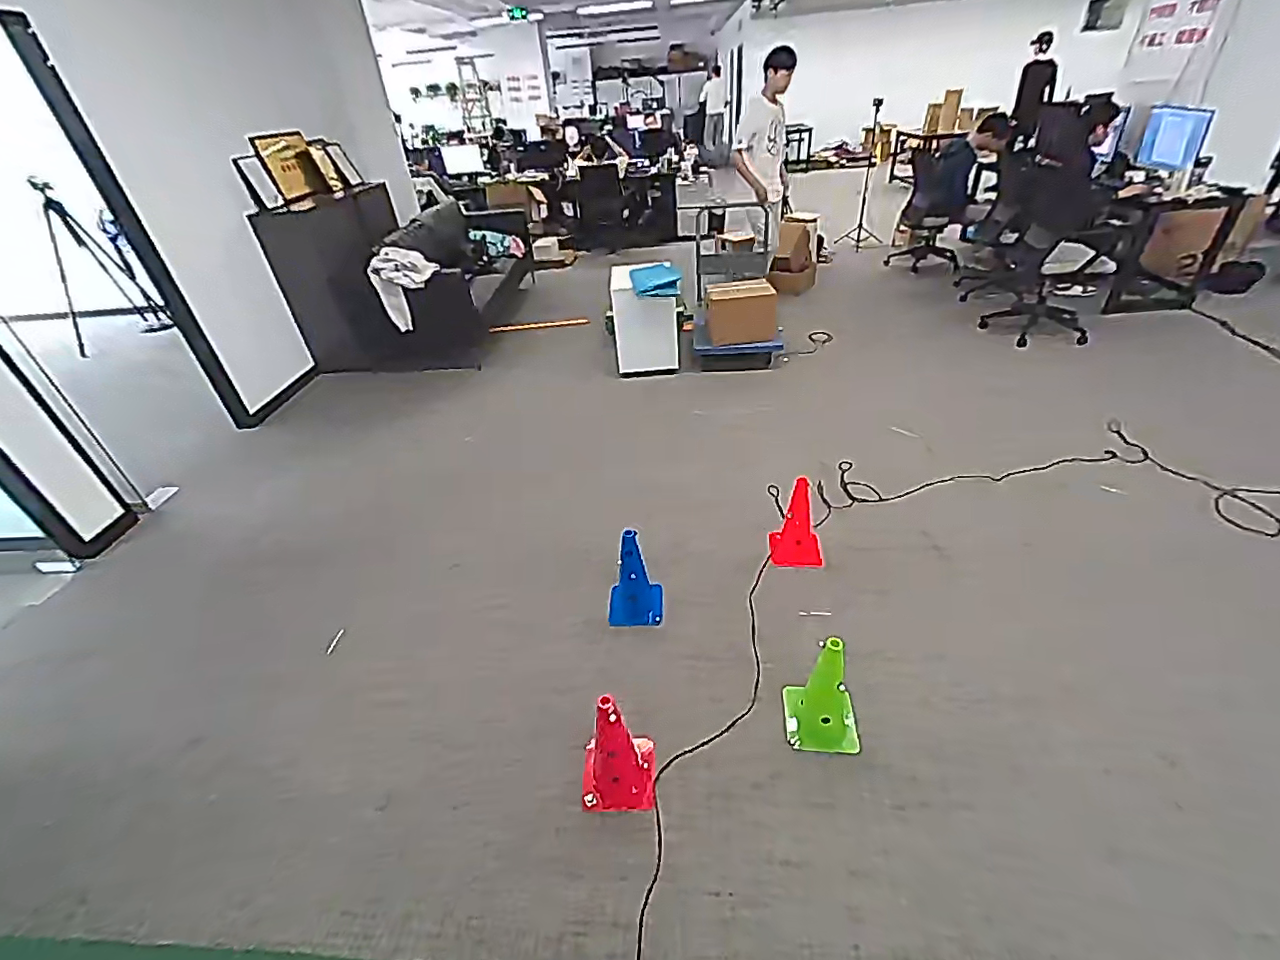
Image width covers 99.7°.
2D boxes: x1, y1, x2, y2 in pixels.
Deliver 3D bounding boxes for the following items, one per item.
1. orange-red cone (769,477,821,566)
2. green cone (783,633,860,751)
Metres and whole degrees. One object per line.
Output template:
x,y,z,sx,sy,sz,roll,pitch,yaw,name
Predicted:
0.611,0.143,2.101,0.198,0.360,0.199,0,37,10,orange-red cone
0.524,0.567,1.511,0.200,0.368,0.202,0,35,7,green cone
